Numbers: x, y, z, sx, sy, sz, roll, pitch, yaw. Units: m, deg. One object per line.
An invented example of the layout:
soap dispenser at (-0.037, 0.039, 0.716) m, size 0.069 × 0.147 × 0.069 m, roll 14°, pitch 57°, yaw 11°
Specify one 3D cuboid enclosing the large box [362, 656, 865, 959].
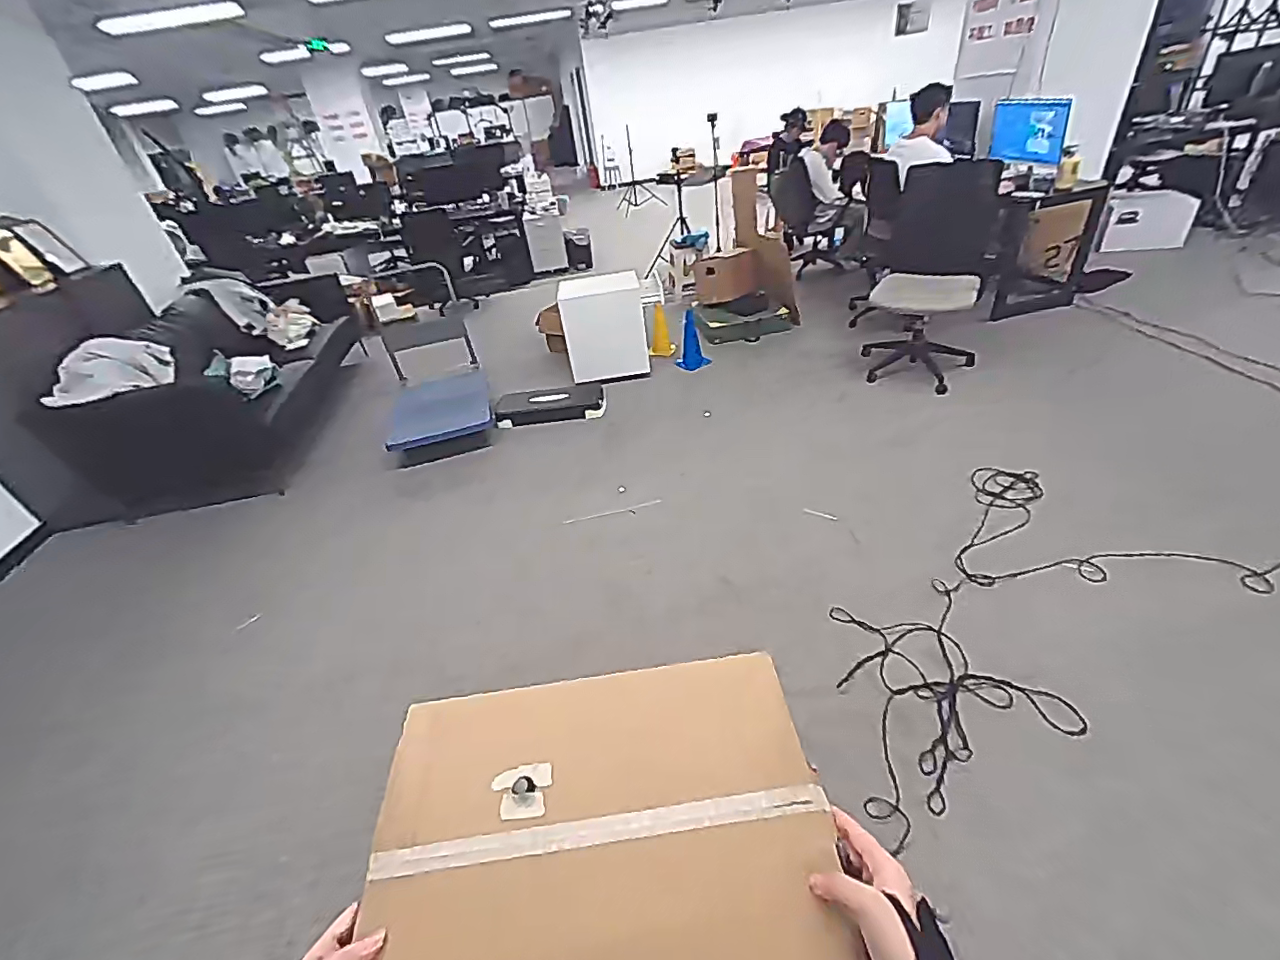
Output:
large box at (-0.017, 0.439, 0.583) m, size 0.408 × 0.320 × 0.320 m, roll -10°, pitch 38°, yaw 1°
